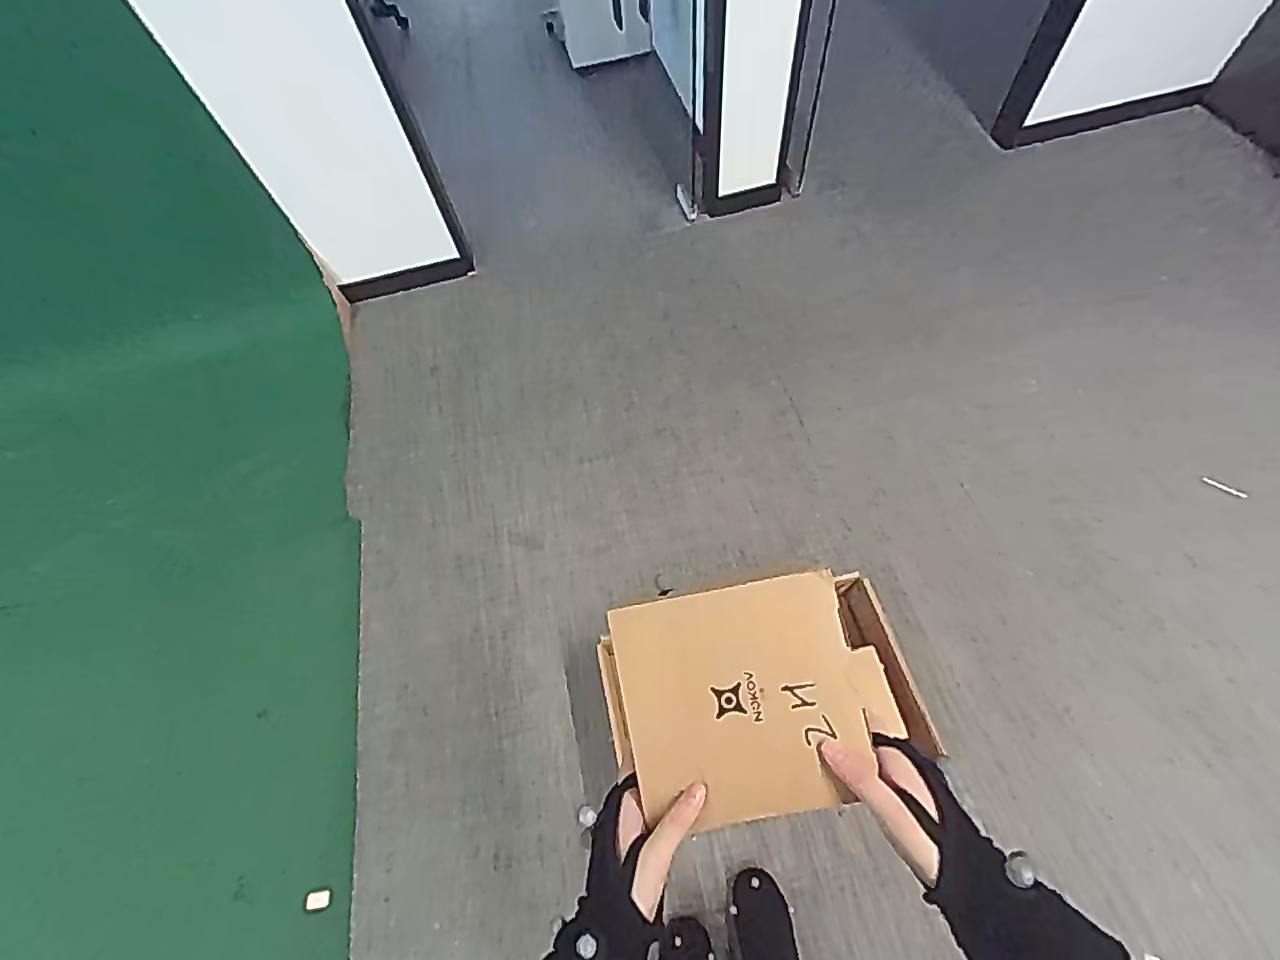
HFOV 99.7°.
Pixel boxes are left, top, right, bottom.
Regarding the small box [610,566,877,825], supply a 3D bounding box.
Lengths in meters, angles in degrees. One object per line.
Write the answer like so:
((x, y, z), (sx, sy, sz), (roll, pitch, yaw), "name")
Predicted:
((0.083, 0.174, 0.488), (0.179, 0.176, 0.168), (-12, 82, 4), "small box")

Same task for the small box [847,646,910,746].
((0.426, 0.463, 1.131), (0.168, 0.176, 0.179), (-12, 62, 0), "small box")
